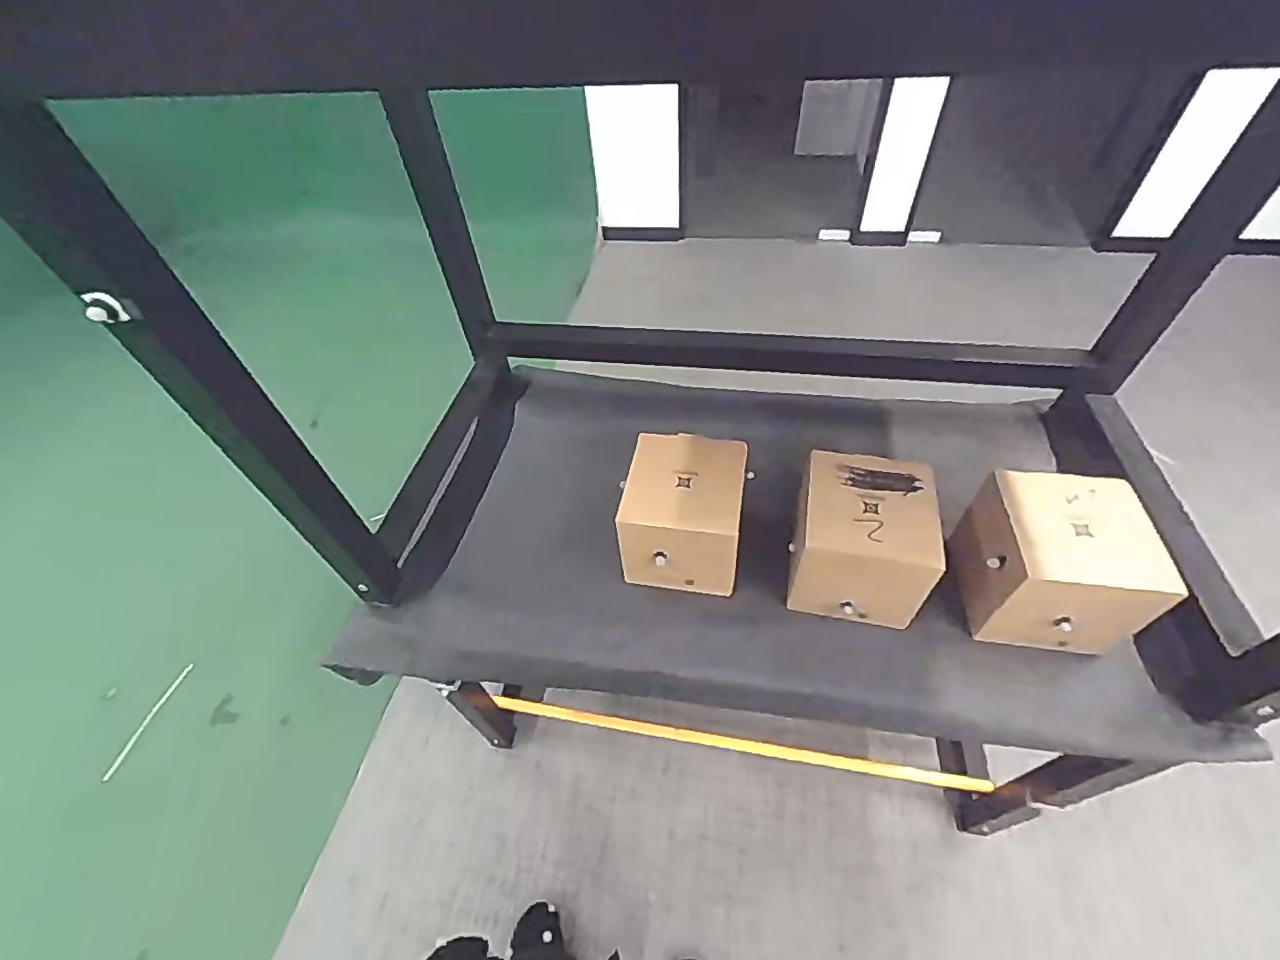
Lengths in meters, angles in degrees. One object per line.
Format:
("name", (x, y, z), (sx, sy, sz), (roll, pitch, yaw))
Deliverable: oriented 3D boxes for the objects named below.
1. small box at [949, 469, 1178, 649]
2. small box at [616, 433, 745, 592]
("small box", (0.549, 0.109, 0.735), (0.168, 0.176, 0.179), (5, 49, 9))
("small box", (0.068, 0.052, 0.831), (0.168, 0.176, 0.179), (6, 50, 10))
